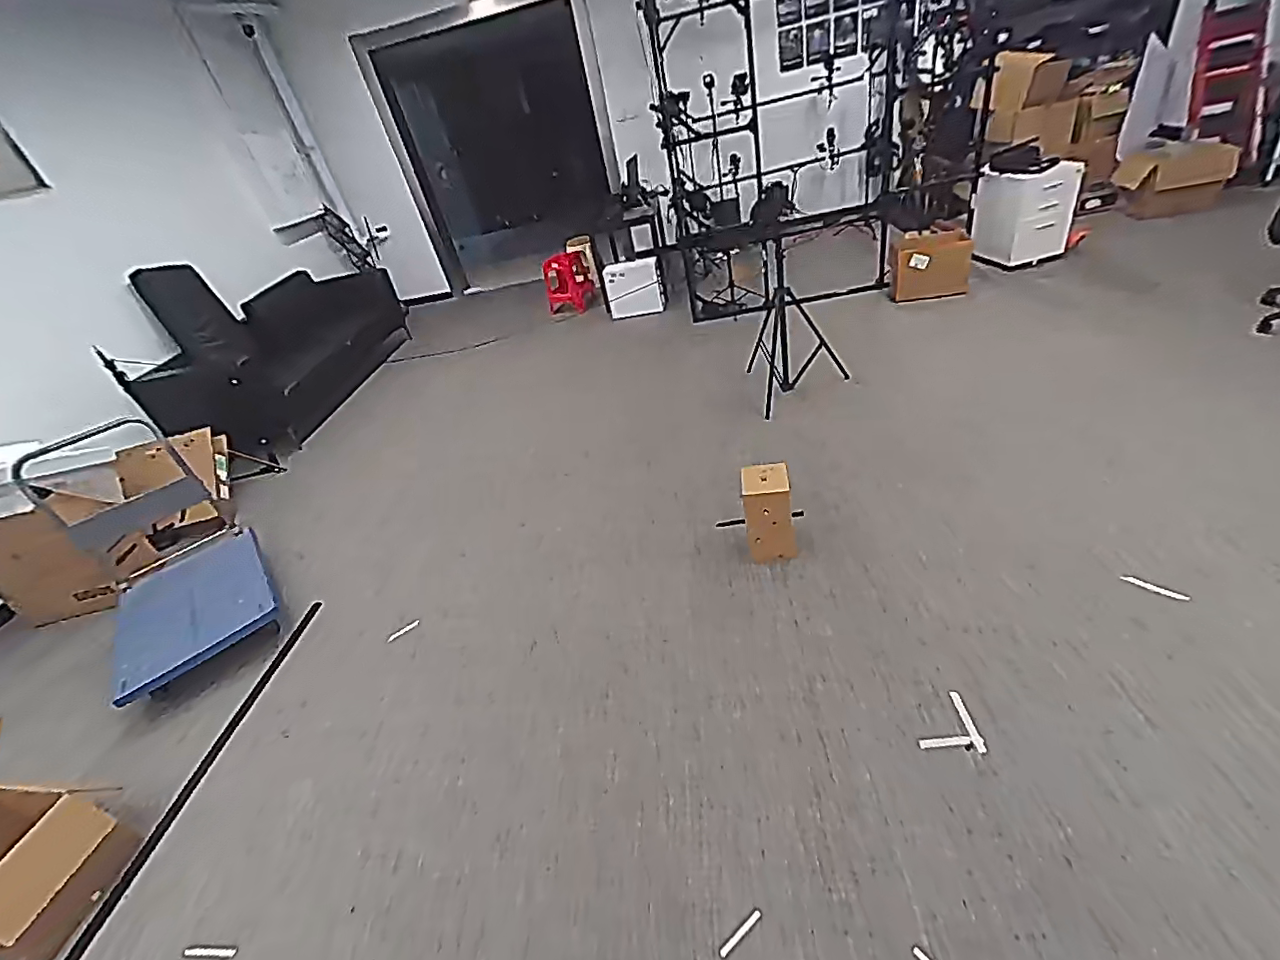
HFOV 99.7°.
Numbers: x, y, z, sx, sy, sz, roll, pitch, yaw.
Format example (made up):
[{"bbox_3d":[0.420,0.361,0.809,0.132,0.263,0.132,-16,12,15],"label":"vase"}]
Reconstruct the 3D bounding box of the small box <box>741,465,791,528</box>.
[{"bbox_3d":[0.467,0.066,2.010,0.168,0.176,0.179,-5,35,13],"label":"small box"}]
